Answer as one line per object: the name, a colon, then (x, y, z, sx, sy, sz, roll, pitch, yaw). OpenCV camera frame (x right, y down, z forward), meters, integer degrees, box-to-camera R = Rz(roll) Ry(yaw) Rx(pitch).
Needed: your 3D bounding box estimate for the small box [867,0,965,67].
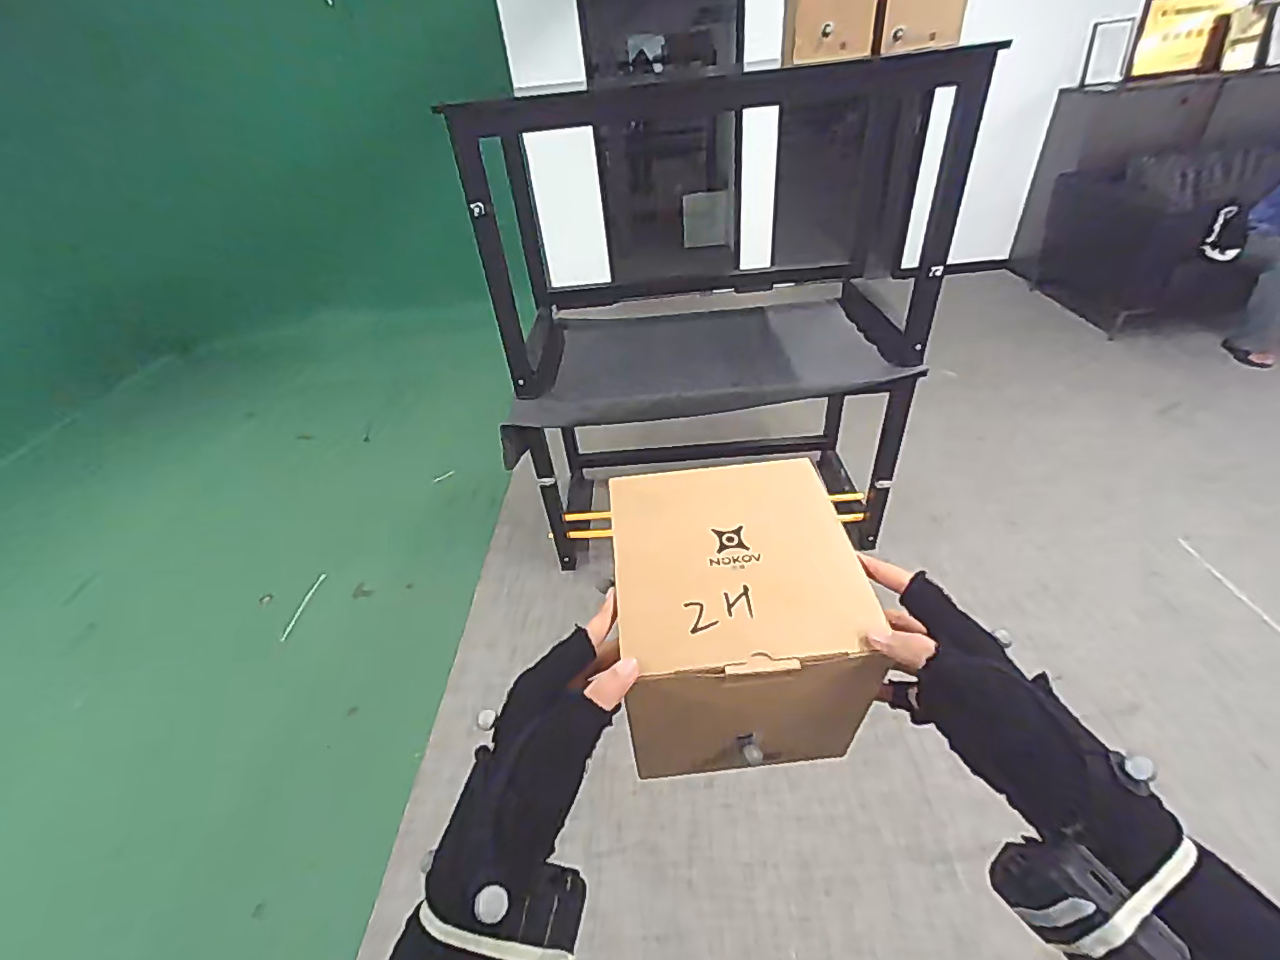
small box: (0.598, -1.026, 1.189, 0.168, 0.176, 0.179, -3, 36, 6)

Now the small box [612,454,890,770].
small box: (0.067, 0.102, 0.432, 0.168, 0.176, 0.179, -6, 42, 0)

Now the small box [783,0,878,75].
small box: (0.416, -1.013, 1.204, 0.168, 0.176, 0.179, -2, 38, 6)
